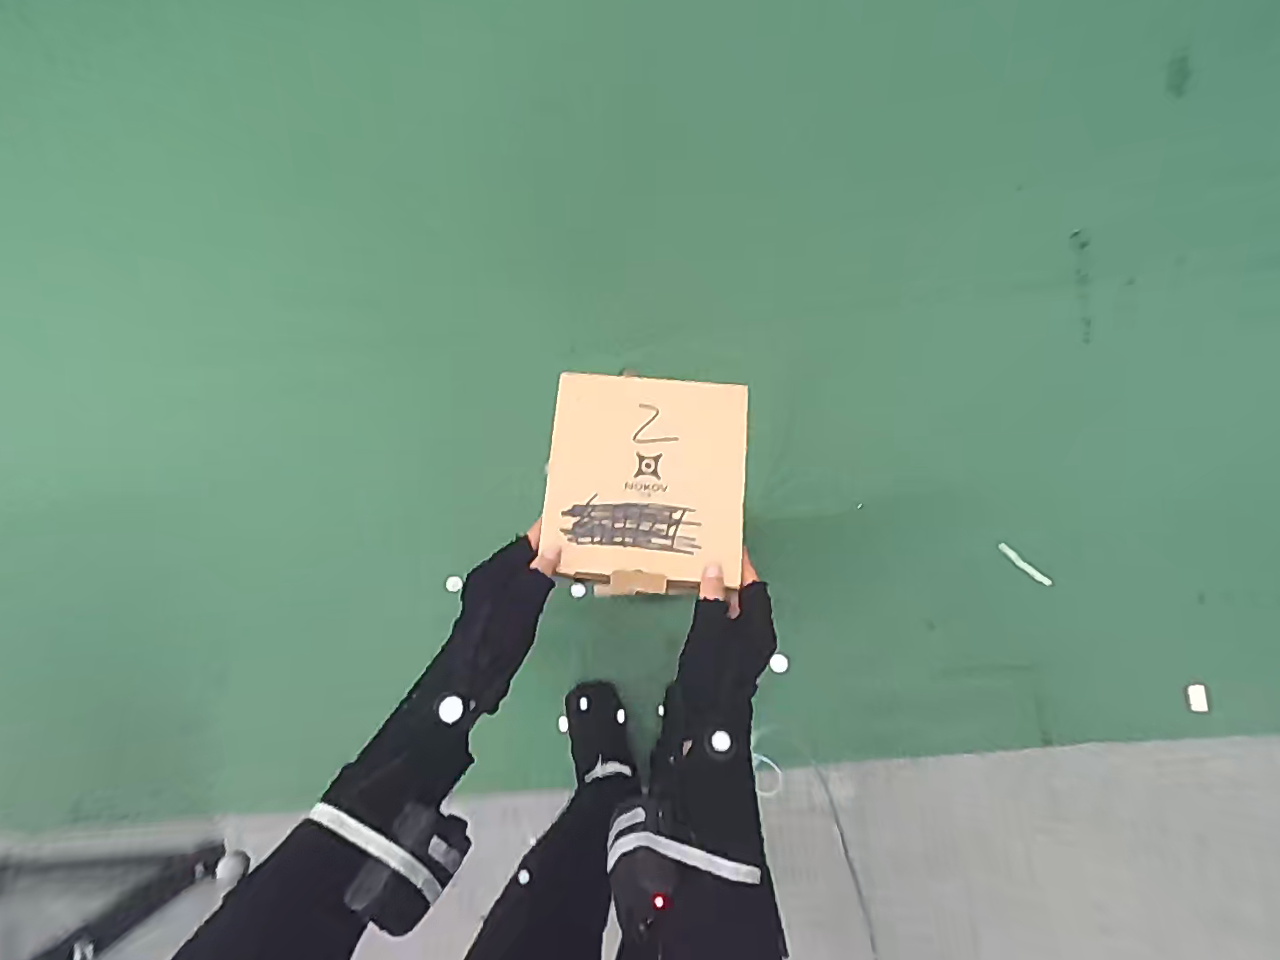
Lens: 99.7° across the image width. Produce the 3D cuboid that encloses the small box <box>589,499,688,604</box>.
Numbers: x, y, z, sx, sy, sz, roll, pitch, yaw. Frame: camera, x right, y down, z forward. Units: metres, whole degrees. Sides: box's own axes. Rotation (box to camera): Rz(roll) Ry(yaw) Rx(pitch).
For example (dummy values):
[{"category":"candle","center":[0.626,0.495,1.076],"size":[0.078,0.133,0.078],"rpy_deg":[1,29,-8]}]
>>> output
[{"category":"small box","center":[0.003,0.130,1.035],"size":[0.168,0.176,0.179],"rpy_deg":[-6,86,5]}]
